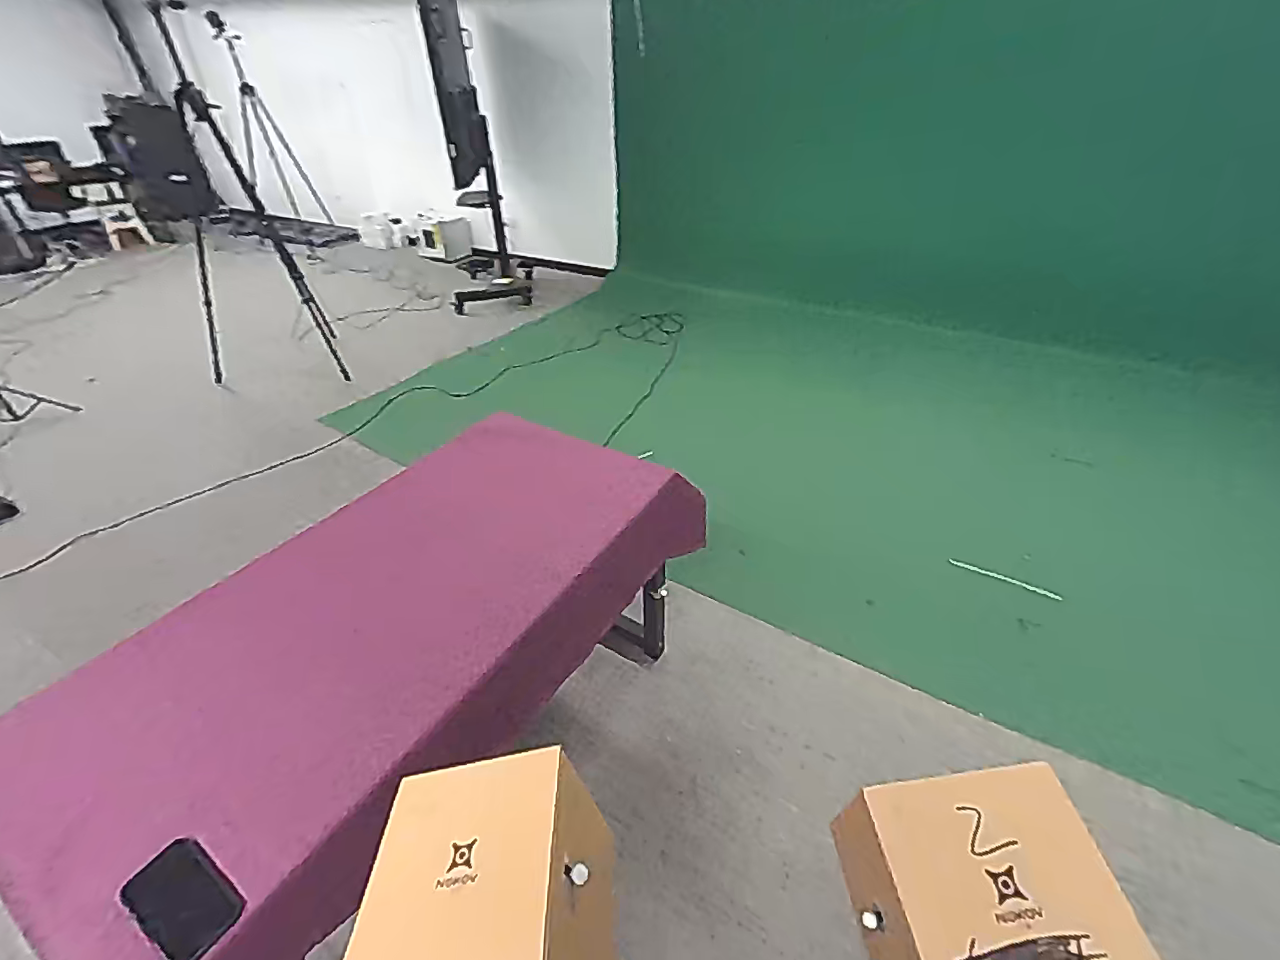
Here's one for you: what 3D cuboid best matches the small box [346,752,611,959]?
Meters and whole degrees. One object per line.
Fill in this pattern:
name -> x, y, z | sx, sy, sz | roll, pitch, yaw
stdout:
small box -> -0.127, 0.386, 0.488 | 0.168, 0.176, 0.179 | -14, 32, 5
